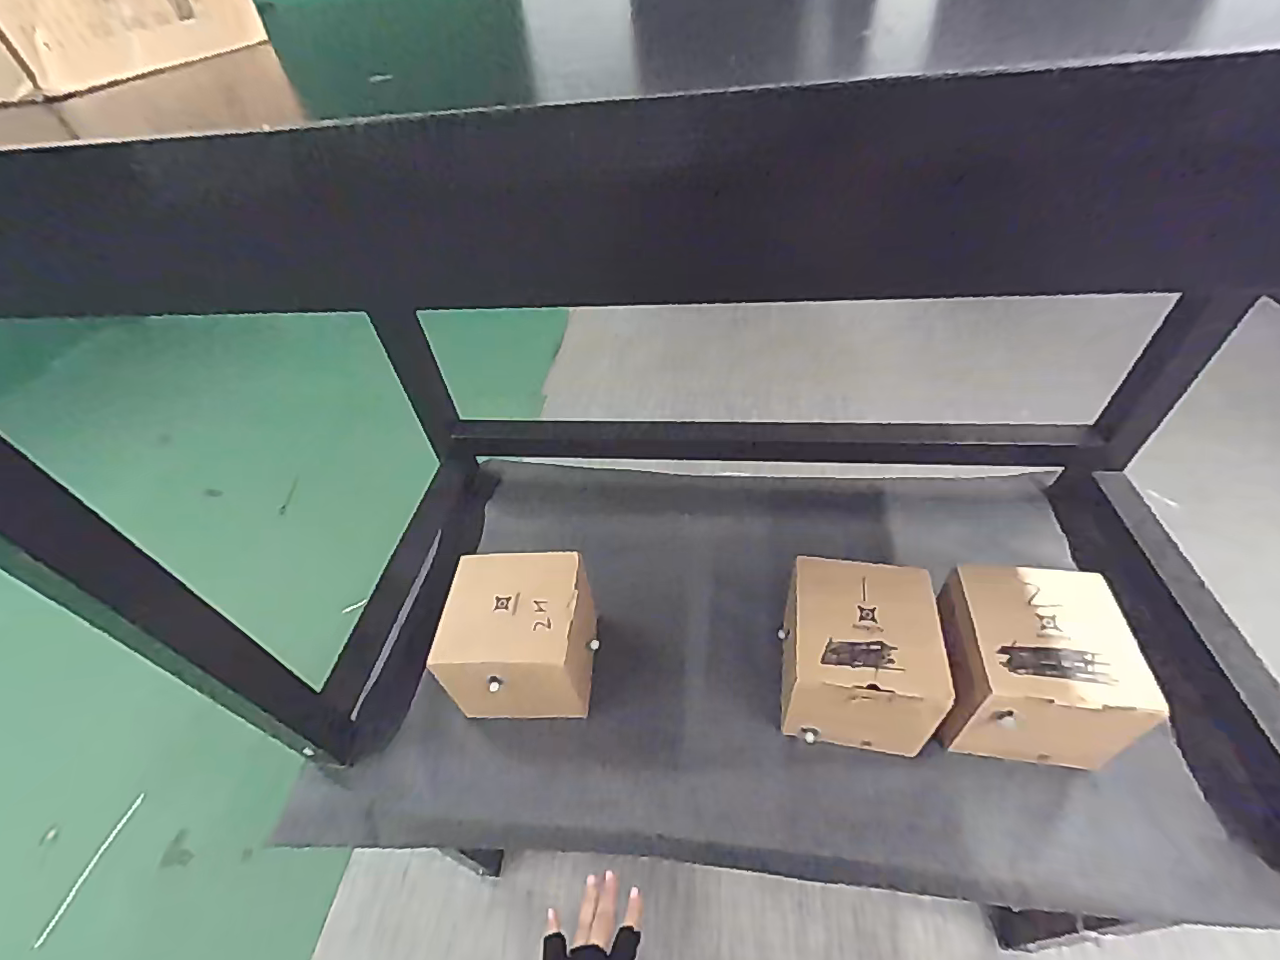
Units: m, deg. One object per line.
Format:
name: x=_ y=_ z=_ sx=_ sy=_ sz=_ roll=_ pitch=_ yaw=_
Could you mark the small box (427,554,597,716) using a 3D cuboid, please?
small box: x=-0.166 y=0.221 z=0.766 sx=0.179 sy=0.176 sz=0.168 roll=-2 pitch=46 yaw=5
